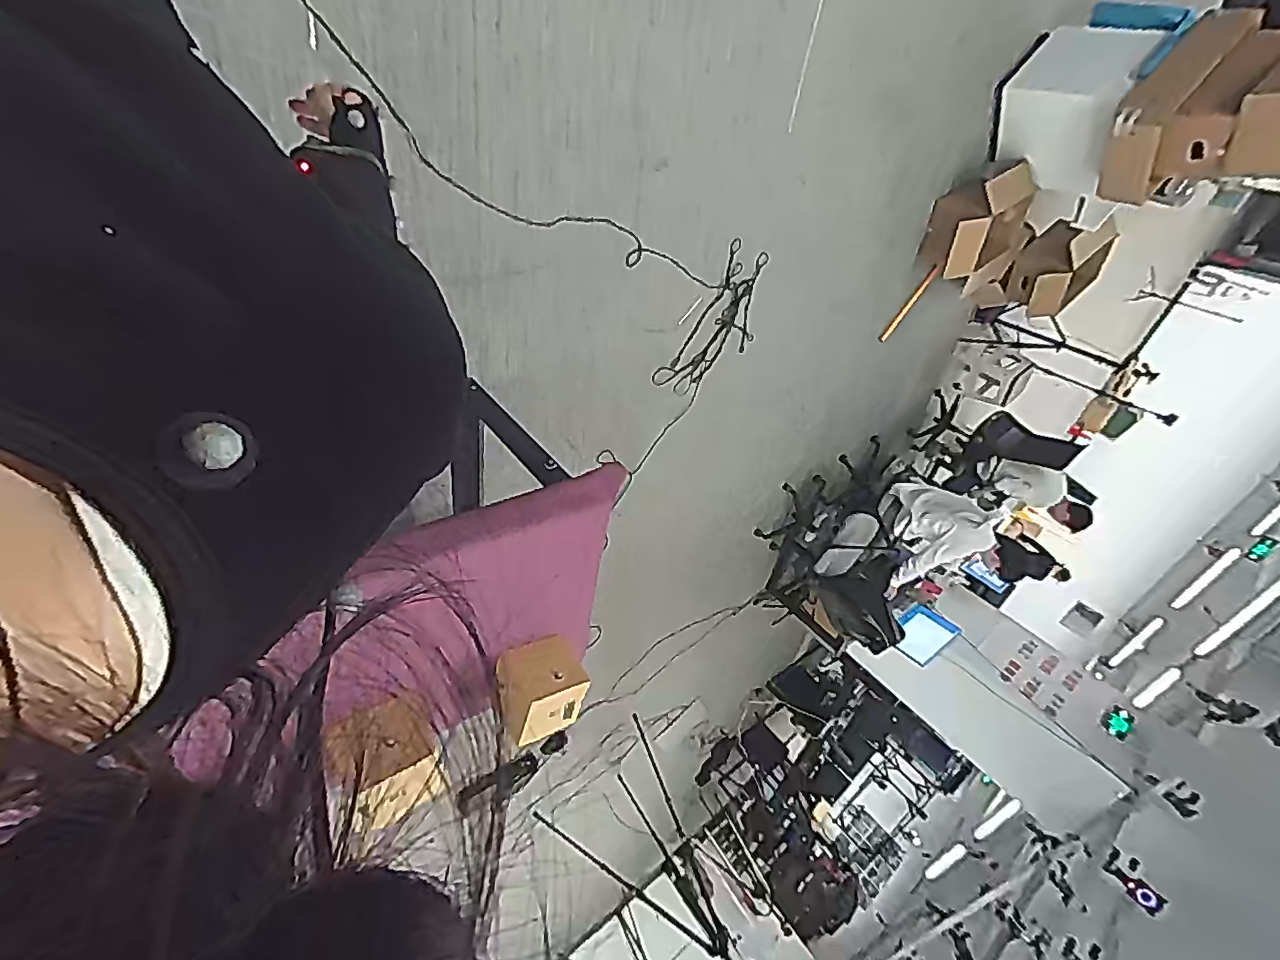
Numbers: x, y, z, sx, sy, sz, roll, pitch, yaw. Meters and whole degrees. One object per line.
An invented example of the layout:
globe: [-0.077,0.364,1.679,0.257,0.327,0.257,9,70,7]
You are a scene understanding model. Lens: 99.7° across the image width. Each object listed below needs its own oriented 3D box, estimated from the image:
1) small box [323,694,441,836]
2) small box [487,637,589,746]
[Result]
small box: [-0.547,0.598,1.154,0.179,0.176,0.168,-19,133,-36]
small box: [-0.265,0.531,1.385,0.179,0.176,0.168,-5,125,-43]
